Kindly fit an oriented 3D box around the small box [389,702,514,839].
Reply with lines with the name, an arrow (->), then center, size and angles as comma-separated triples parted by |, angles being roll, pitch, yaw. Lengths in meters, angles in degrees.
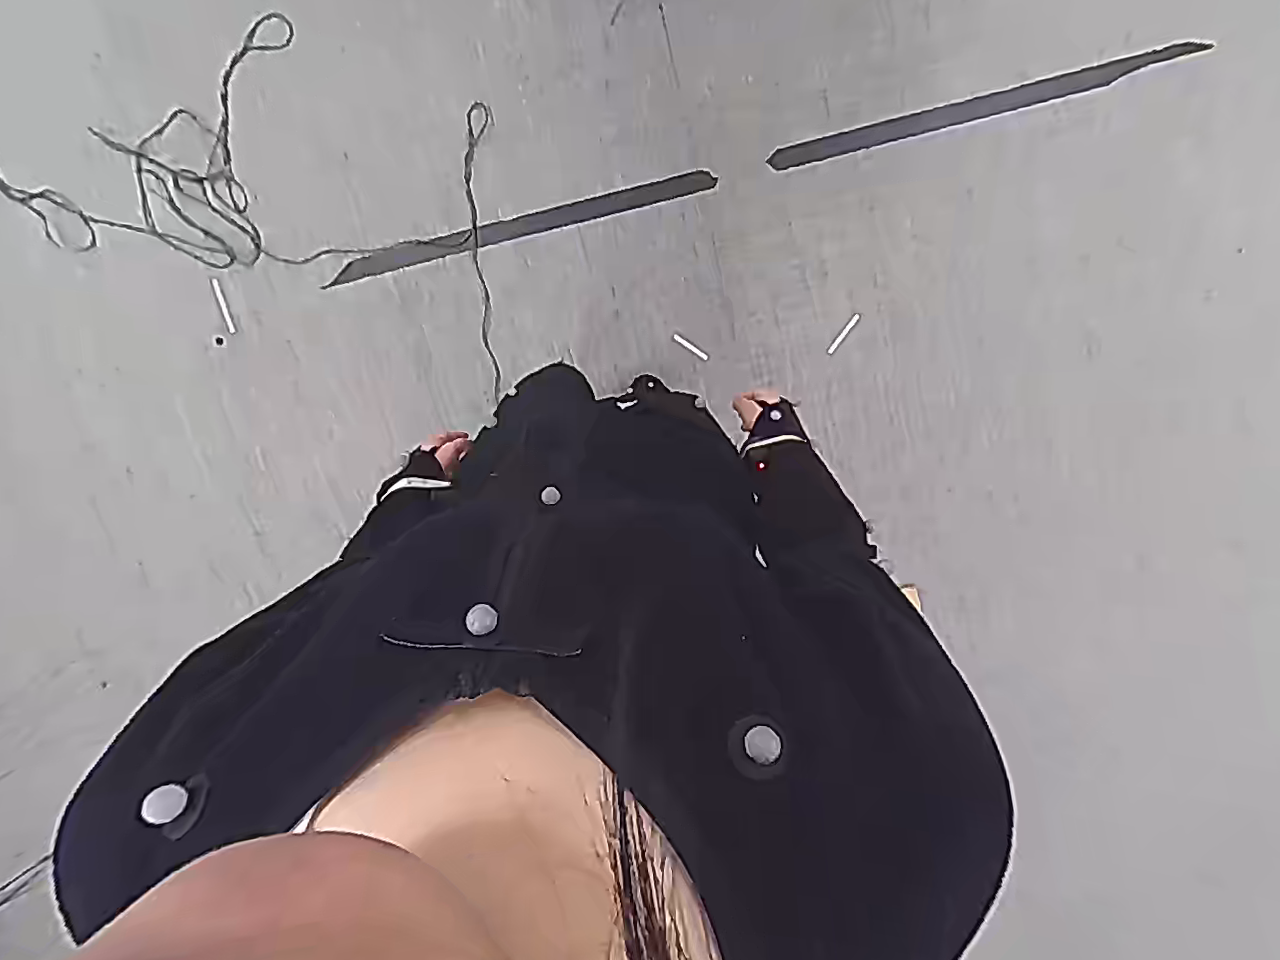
small box -> -0.406, 0.633, 1.200 | 0.179, 0.176, 0.168 | 35, 98, -4
